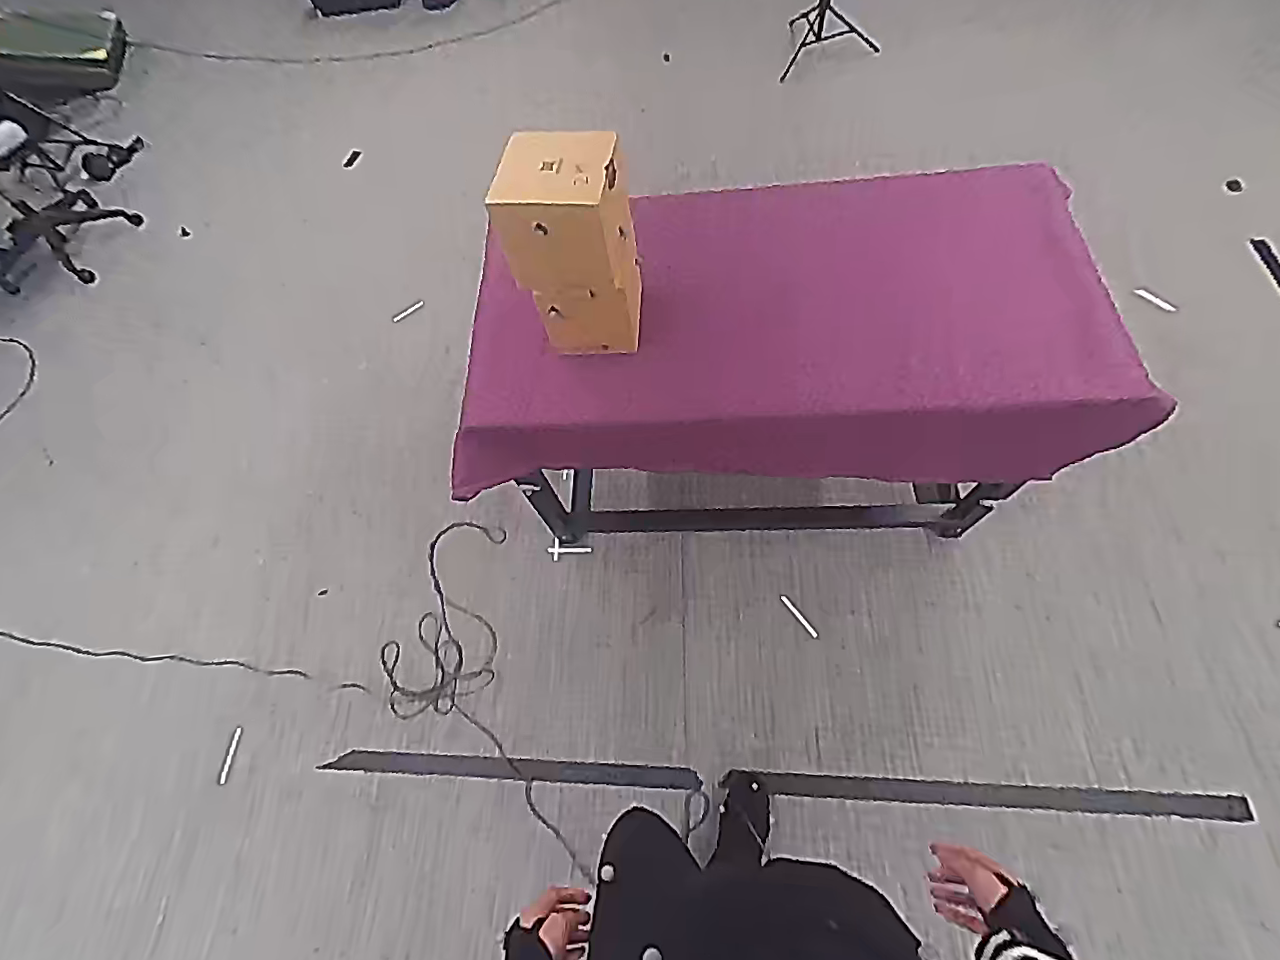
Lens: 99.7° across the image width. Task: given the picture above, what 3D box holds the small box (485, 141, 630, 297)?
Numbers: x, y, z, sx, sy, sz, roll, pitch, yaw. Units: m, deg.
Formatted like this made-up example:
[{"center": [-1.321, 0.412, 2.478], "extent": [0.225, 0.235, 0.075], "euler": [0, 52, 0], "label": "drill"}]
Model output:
[{"center": [-0.123, -0.420, 0.884], "extent": [0.179, 0.176, 0.168], "euler": [6, 65, 9], "label": "small box"}]
